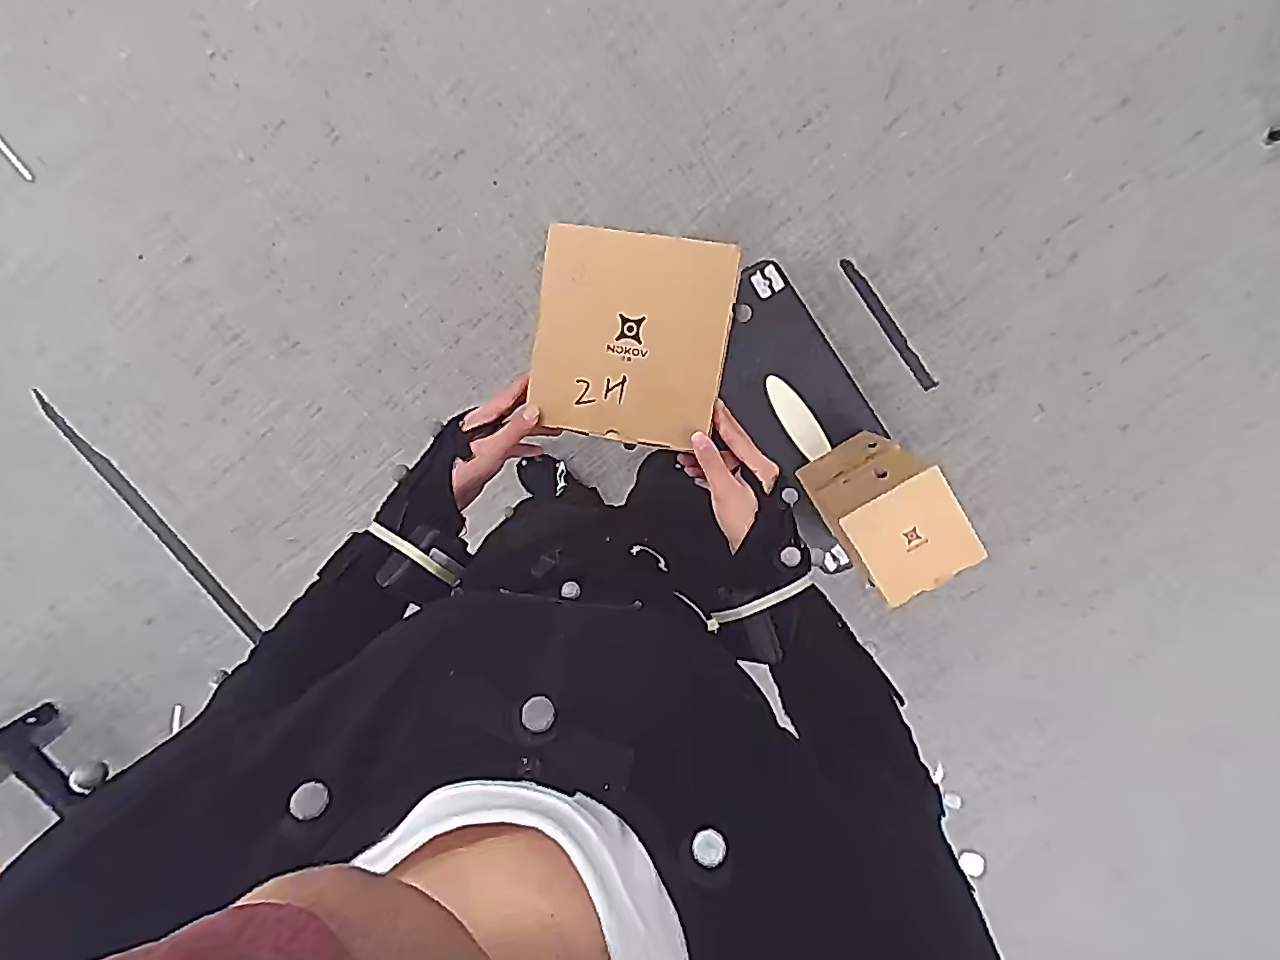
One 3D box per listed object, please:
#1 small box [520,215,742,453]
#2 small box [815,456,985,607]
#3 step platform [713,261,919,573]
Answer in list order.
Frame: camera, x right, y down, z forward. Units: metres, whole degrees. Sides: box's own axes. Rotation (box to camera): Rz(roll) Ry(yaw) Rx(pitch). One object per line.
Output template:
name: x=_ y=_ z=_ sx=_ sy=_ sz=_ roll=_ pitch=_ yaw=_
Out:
small box: x=-0.001 y=-0.132 z=0.533 sx=0.168 sy=0.176 sz=0.179 roll=11 pitch=99 yaw=7
small box: x=0.418 y=0.073 z=0.902 sx=0.168 sy=0.176 sz=0.179 roll=-32 pitch=99 yaw=9
step platform: x=0.366 y=-0.129 z=1.206 sx=0.286 sy=0.204 sz=0.684 roll=-35 pitch=97 yaw=9
